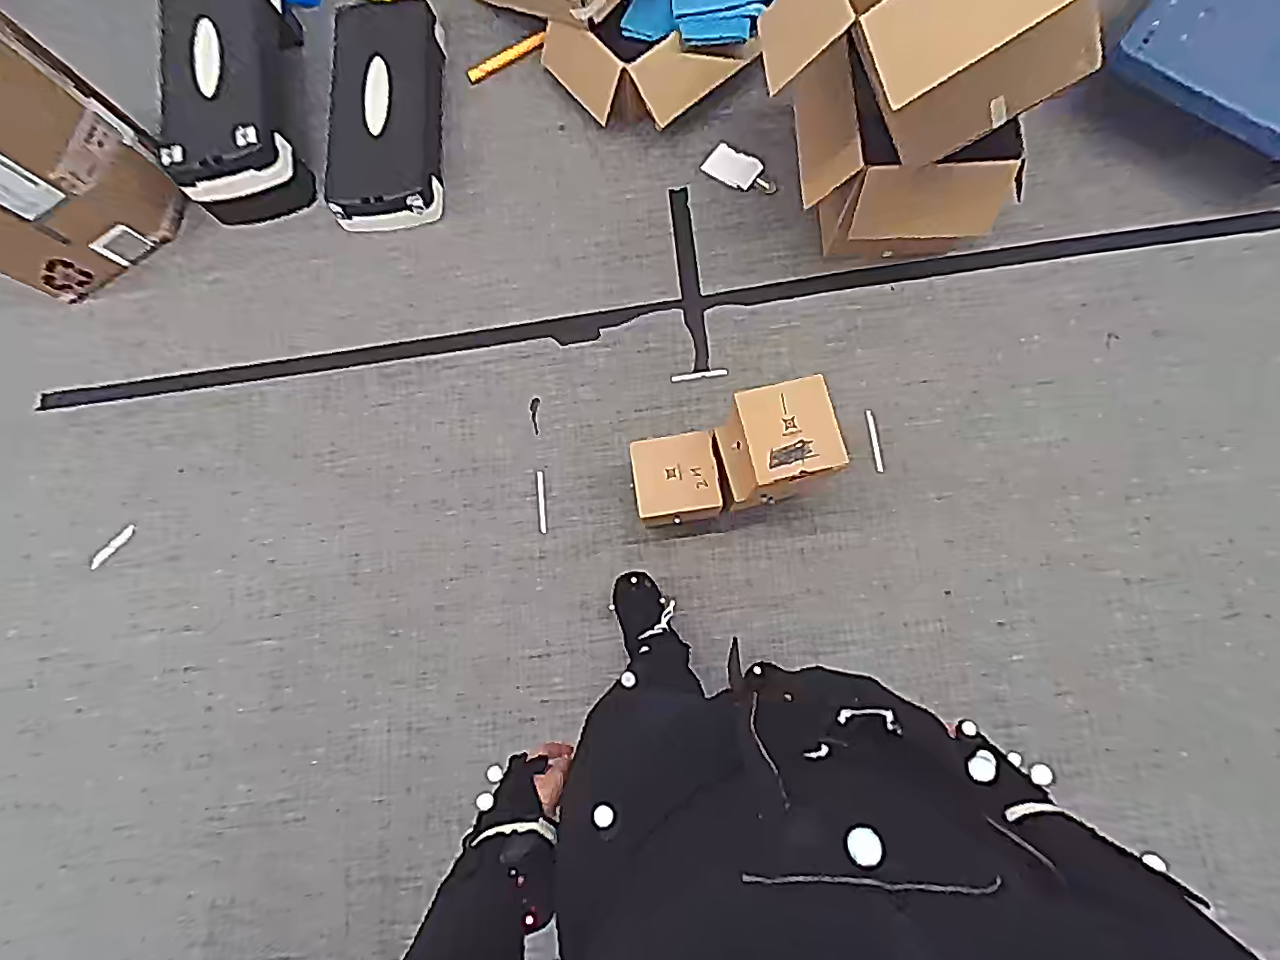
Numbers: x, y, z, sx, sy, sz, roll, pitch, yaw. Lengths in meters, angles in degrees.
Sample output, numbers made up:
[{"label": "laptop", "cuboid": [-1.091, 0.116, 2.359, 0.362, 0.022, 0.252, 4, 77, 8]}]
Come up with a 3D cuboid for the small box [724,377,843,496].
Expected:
[{"label": "small box", "cuboid": [0.265, -0.073, 1.037, 0.168, 0.176, 0.179, -12, 77, 1]}]
